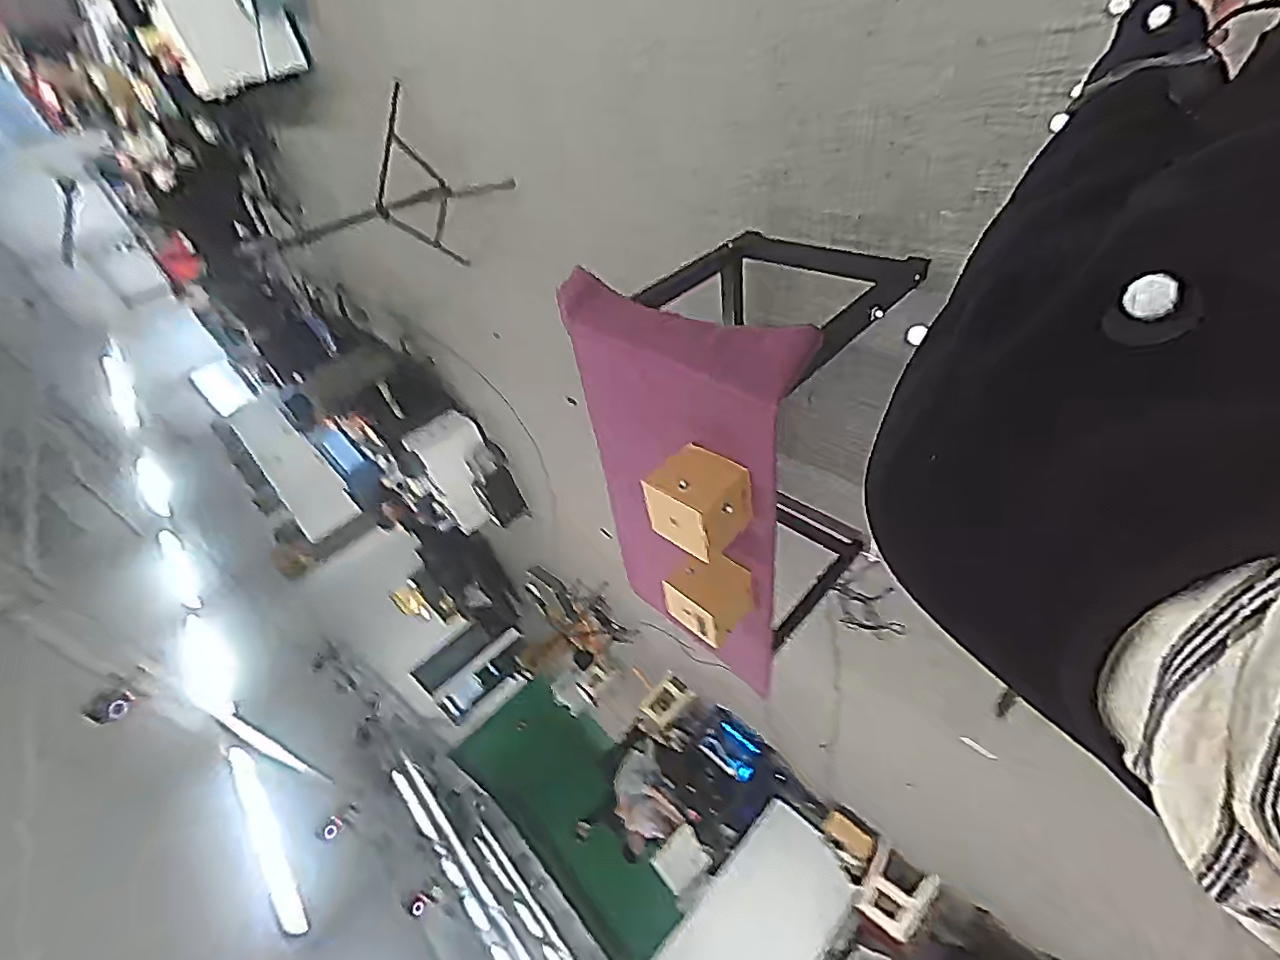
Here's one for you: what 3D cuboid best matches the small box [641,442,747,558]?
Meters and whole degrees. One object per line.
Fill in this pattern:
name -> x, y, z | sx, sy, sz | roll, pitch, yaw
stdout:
small box -> 0.132, 0.038, 1.233 | 0.179, 0.176, 0.168 | 30, 146, 38
